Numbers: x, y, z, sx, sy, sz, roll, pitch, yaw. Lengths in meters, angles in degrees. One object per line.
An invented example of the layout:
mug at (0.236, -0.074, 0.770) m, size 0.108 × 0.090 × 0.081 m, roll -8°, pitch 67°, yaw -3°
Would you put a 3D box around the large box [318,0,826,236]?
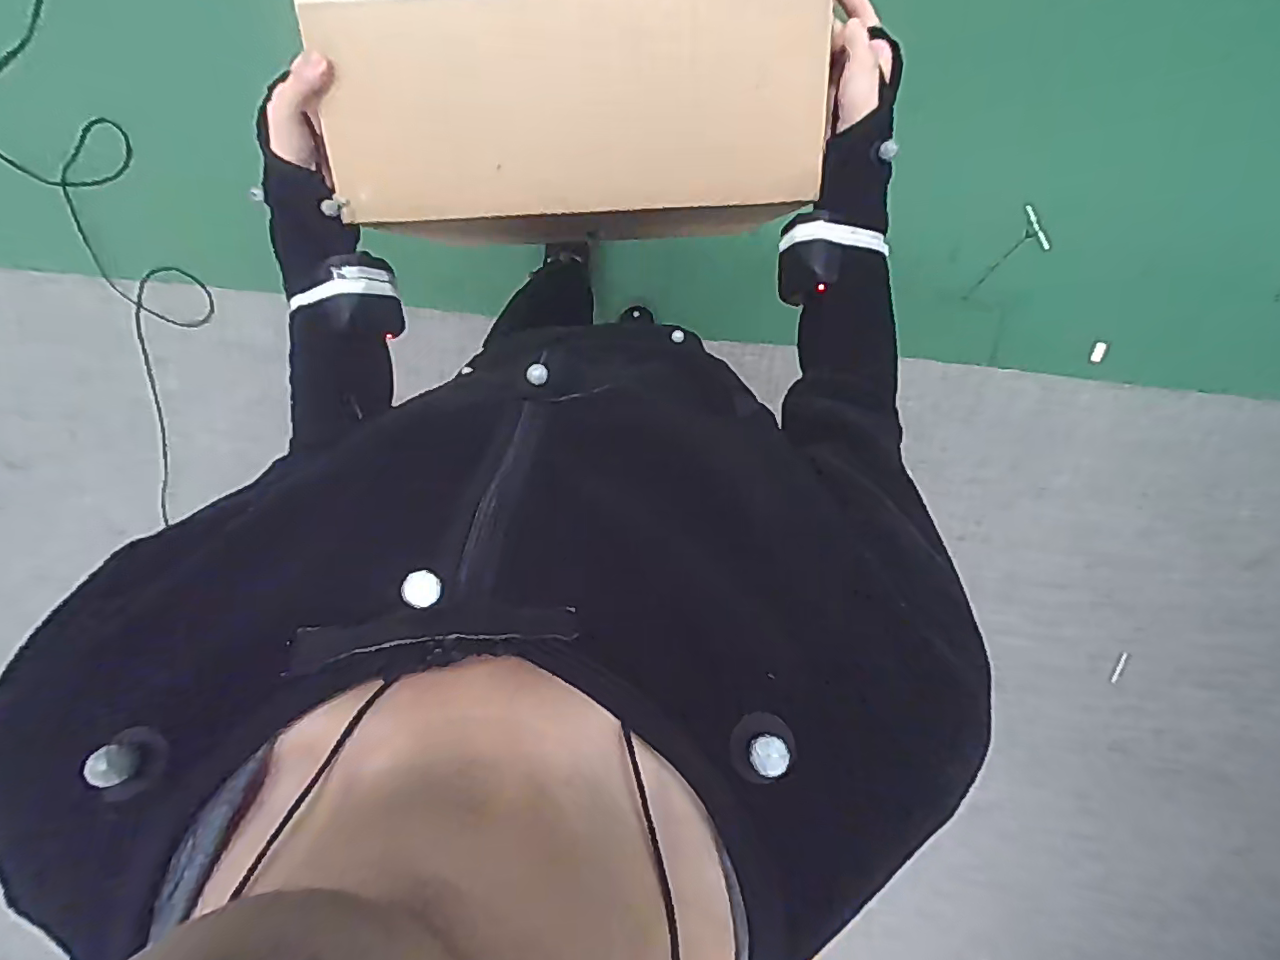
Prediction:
large box at (-0.054, -0.438, 0.556) m, size 0.408 × 0.320 × 0.320 m, roll -3°, pitch 109°, yaw -1°
